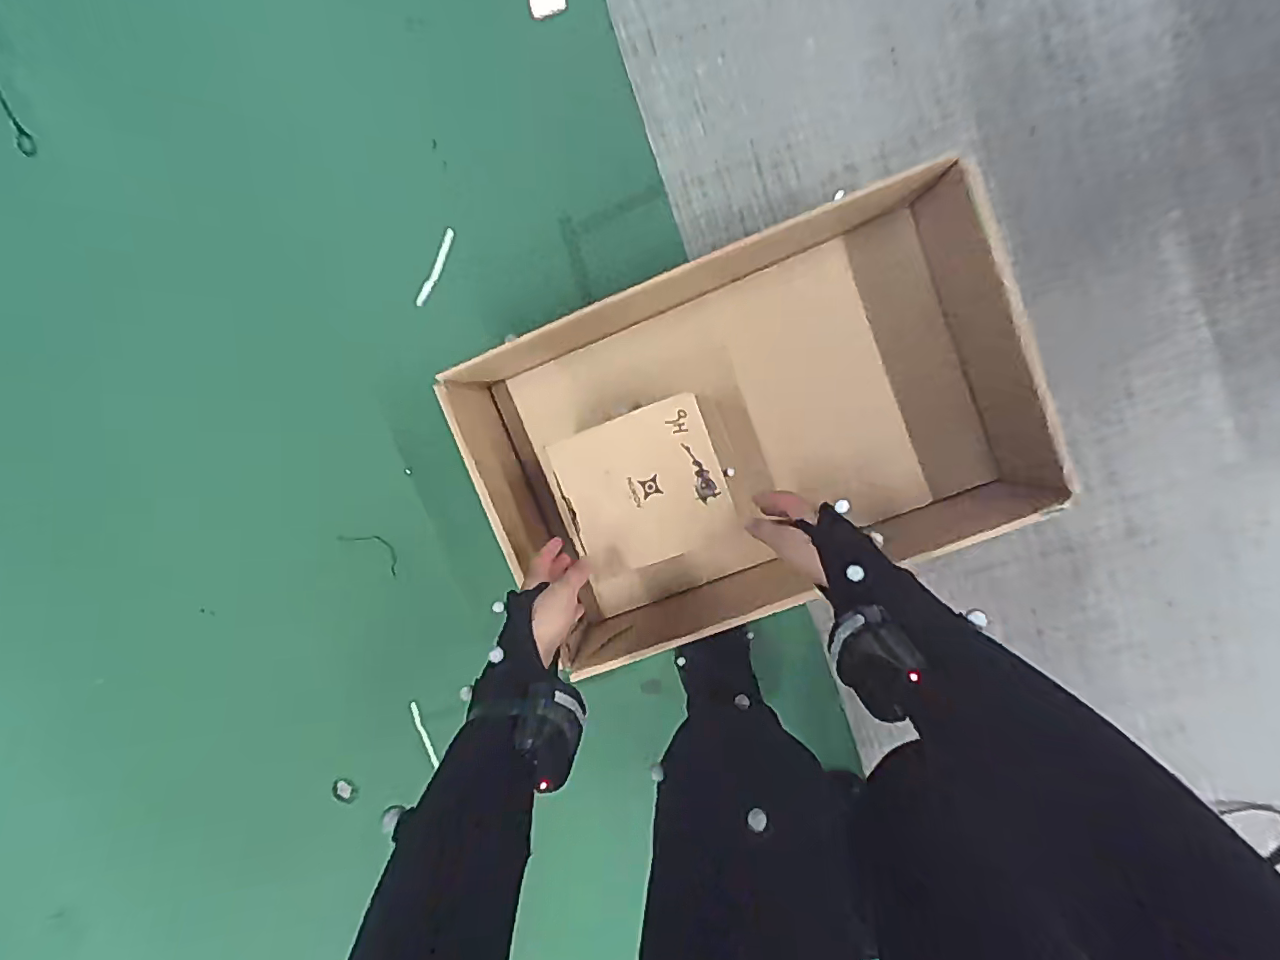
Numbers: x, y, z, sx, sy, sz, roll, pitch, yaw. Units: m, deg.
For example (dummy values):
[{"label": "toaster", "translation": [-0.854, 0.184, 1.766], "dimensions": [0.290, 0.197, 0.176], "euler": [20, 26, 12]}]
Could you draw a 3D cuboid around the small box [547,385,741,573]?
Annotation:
[{"label": "small box", "translation": [0.011, -0.006, 0.668], "dimensions": [0.179, 0.176, 0.168], "euler": [-20, 95, 7]}]
